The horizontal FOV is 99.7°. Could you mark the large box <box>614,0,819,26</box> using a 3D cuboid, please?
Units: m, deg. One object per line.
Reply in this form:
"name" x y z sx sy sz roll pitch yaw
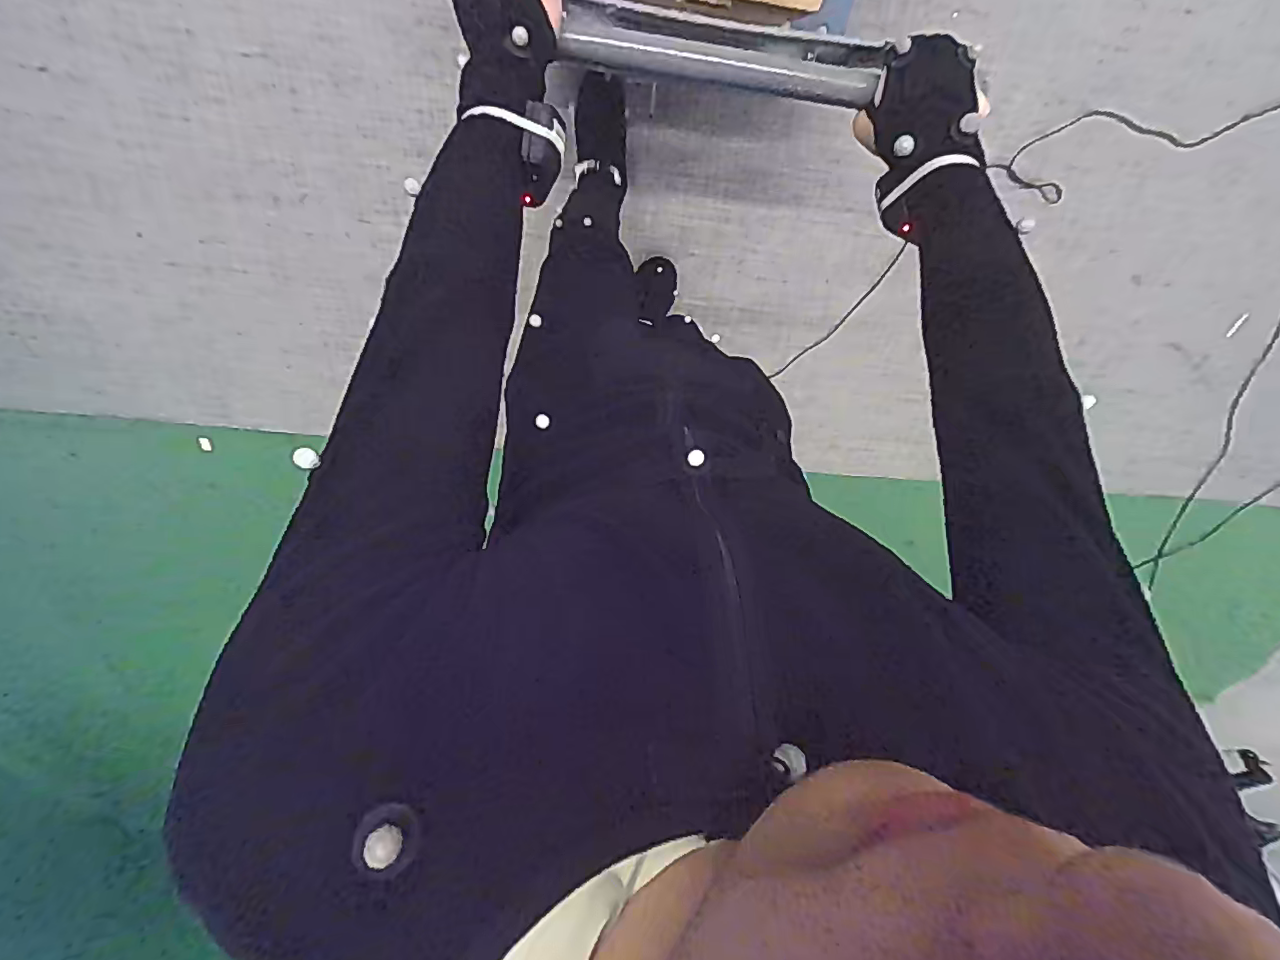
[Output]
"large box" 0.119 -0.909 0.737 0.320 0.320 0.408 5 125 -5
